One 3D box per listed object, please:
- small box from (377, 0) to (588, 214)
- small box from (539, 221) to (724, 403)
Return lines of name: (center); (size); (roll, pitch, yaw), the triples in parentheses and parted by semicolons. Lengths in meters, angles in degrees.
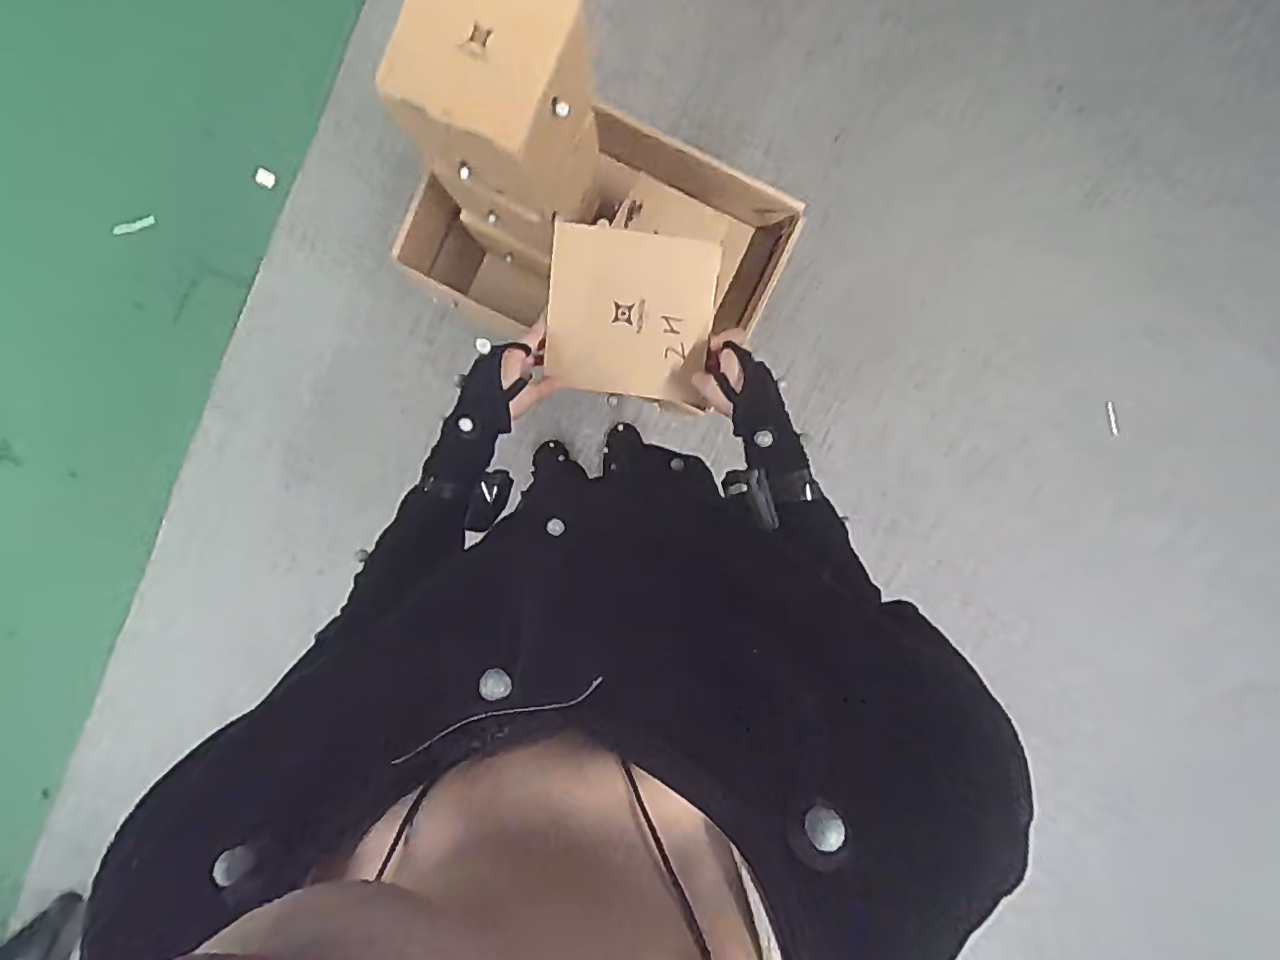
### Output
small box: (-0.168, -0.456, 0.638); (0.168, 0.176, 0.179); (24, 95, -2)
small box: (-0.012, -0.186, 0.638); (0.179, 0.176, 0.168); (7, 101, -3)
